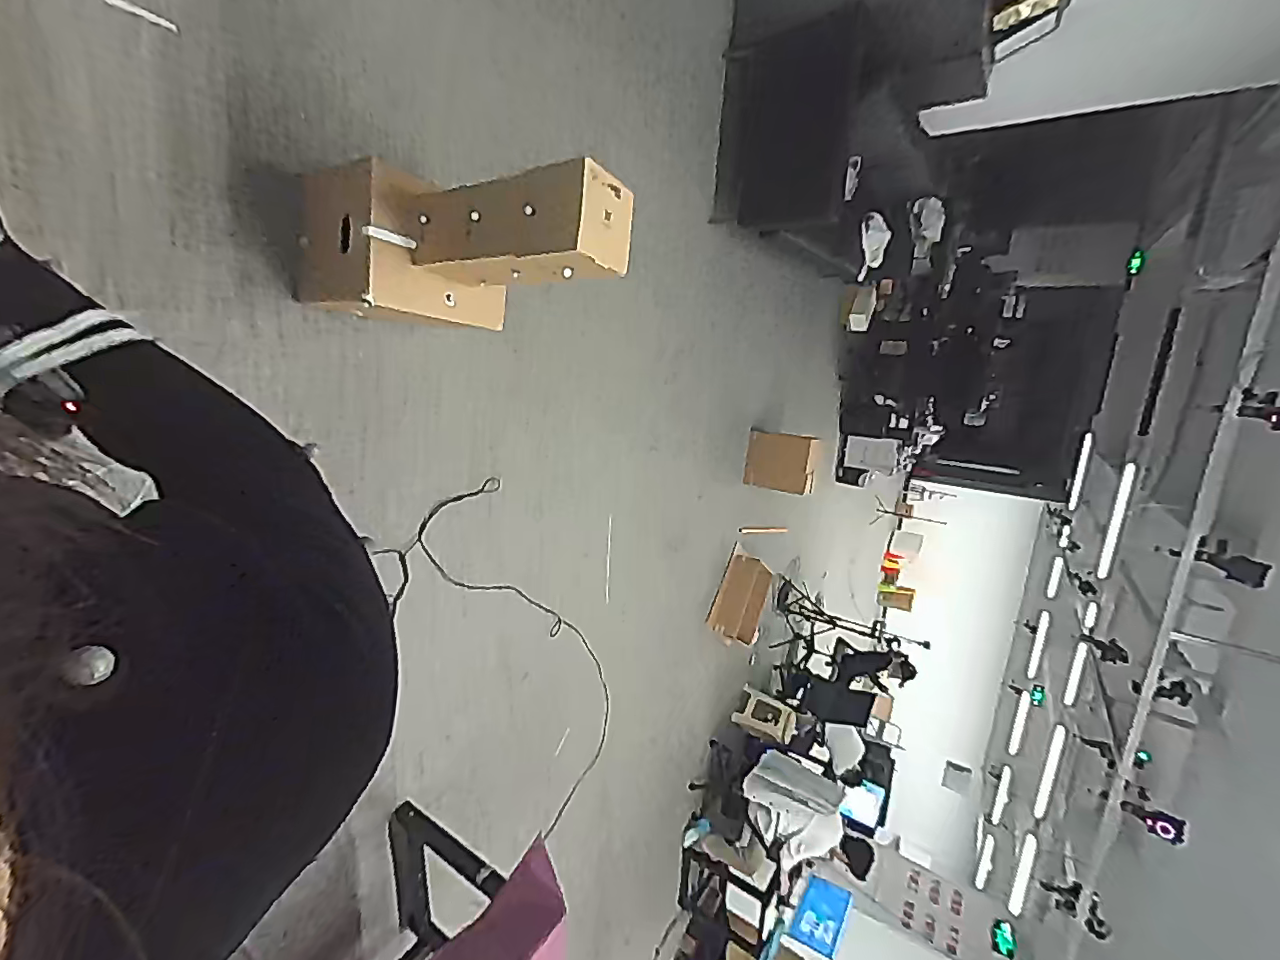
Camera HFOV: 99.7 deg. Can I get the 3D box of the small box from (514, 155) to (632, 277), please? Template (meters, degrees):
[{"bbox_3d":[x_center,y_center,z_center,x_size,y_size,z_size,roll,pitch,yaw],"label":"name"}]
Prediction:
[{"bbox_3d":[-0.140,-0.532,1.119,0.168,0.176,0.179,0,98,-58],"label":"small box"}]

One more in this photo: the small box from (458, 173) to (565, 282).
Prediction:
[{"bbox_3d":[-0.276,-0.552,1.209,0.179,0.176,0.168,2,96,-57],"label":"small box"}]

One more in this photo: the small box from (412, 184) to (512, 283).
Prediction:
[{"bbox_3d":[-0.414,-0.580,1.294,0.179,0.176,0.168,0,98,-57],"label":"small box"}]
